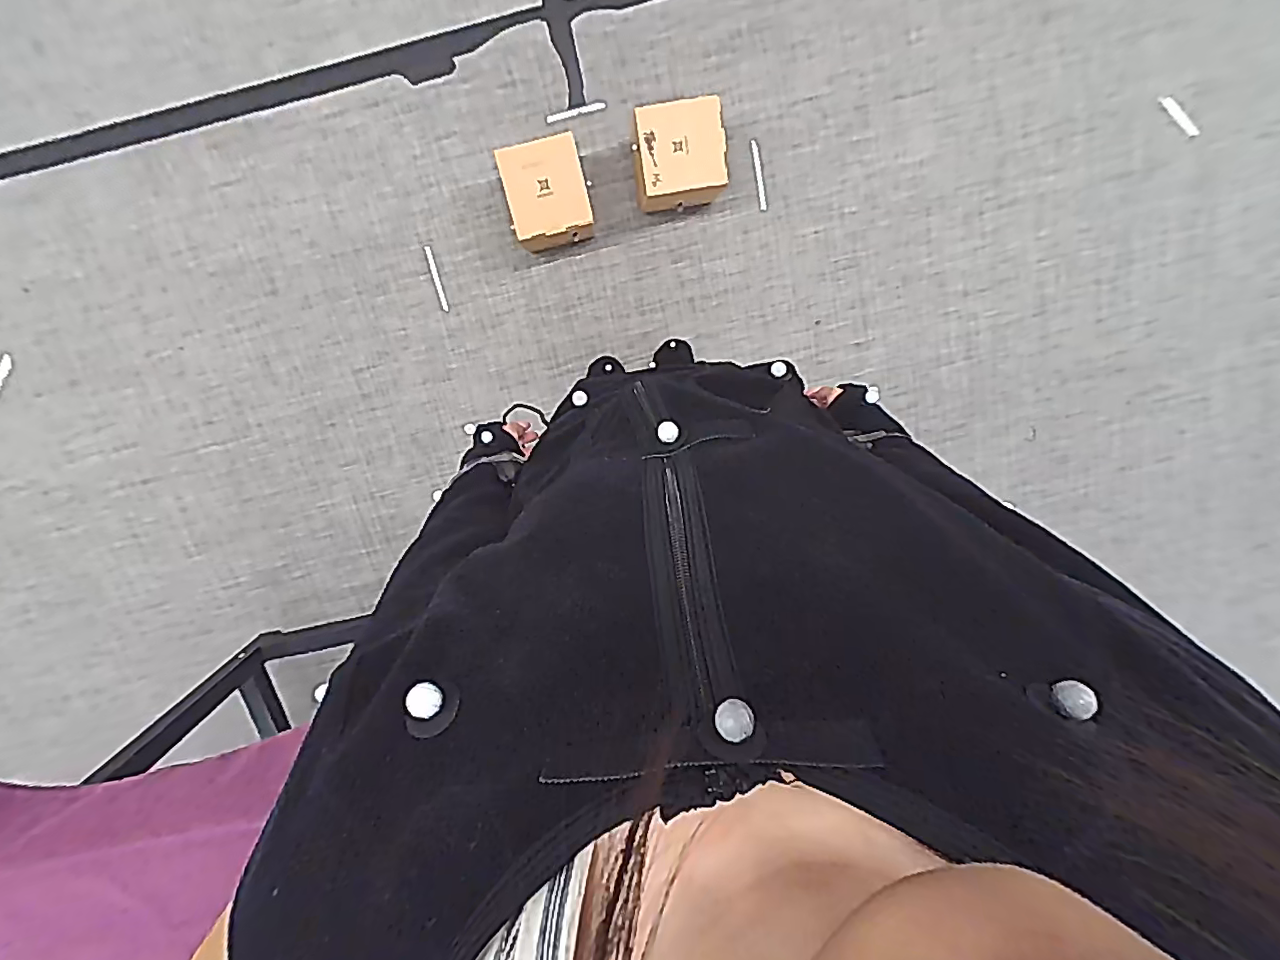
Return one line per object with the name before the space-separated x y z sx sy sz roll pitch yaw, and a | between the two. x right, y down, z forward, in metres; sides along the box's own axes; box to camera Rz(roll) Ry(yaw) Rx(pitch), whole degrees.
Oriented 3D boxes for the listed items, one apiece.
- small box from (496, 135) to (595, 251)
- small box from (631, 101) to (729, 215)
small box | -0.198 -0.613 1.183 0.168 0.176 0.179 -15 104 -1
small box | 0.083 -0.693 1.179 0.179 0.176 0.168 -10 106 -2
